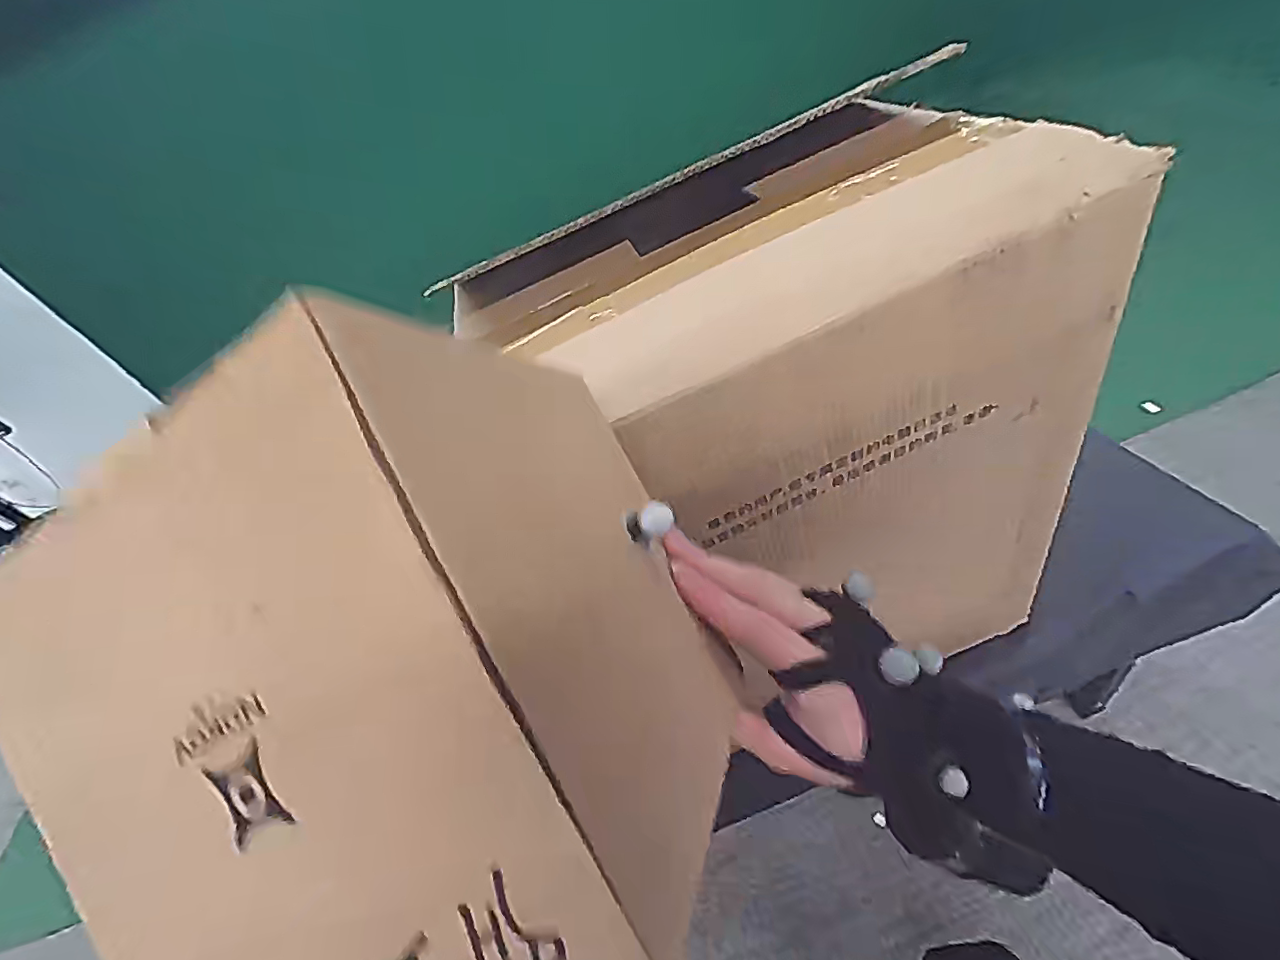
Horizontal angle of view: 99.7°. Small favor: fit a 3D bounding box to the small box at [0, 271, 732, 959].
[{"bbox_3d":[-0.081,0.057,0.219,0.168,0.176,0.179,-30,85,18],"label":"small box"}]
